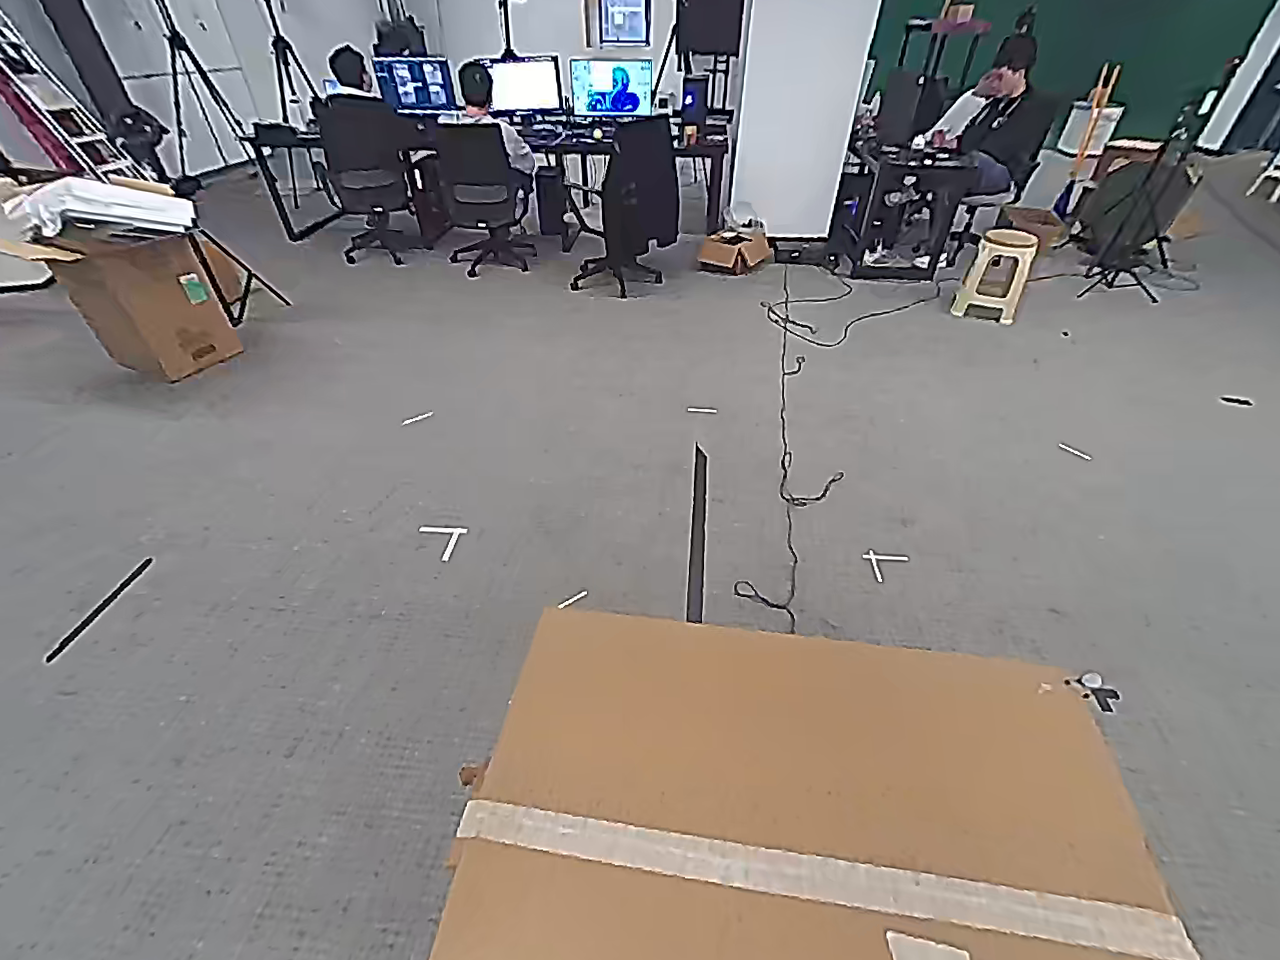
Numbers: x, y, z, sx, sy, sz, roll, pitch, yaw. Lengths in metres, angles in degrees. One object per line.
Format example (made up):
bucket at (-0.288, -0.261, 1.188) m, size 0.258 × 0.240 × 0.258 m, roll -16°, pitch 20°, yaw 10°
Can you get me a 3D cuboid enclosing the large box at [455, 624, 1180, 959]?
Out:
large box at (0.103, 0.346, 0.430) m, size 0.408 × 0.320 × 0.320 m, roll 5°, pitch 46°, yaw 7°
